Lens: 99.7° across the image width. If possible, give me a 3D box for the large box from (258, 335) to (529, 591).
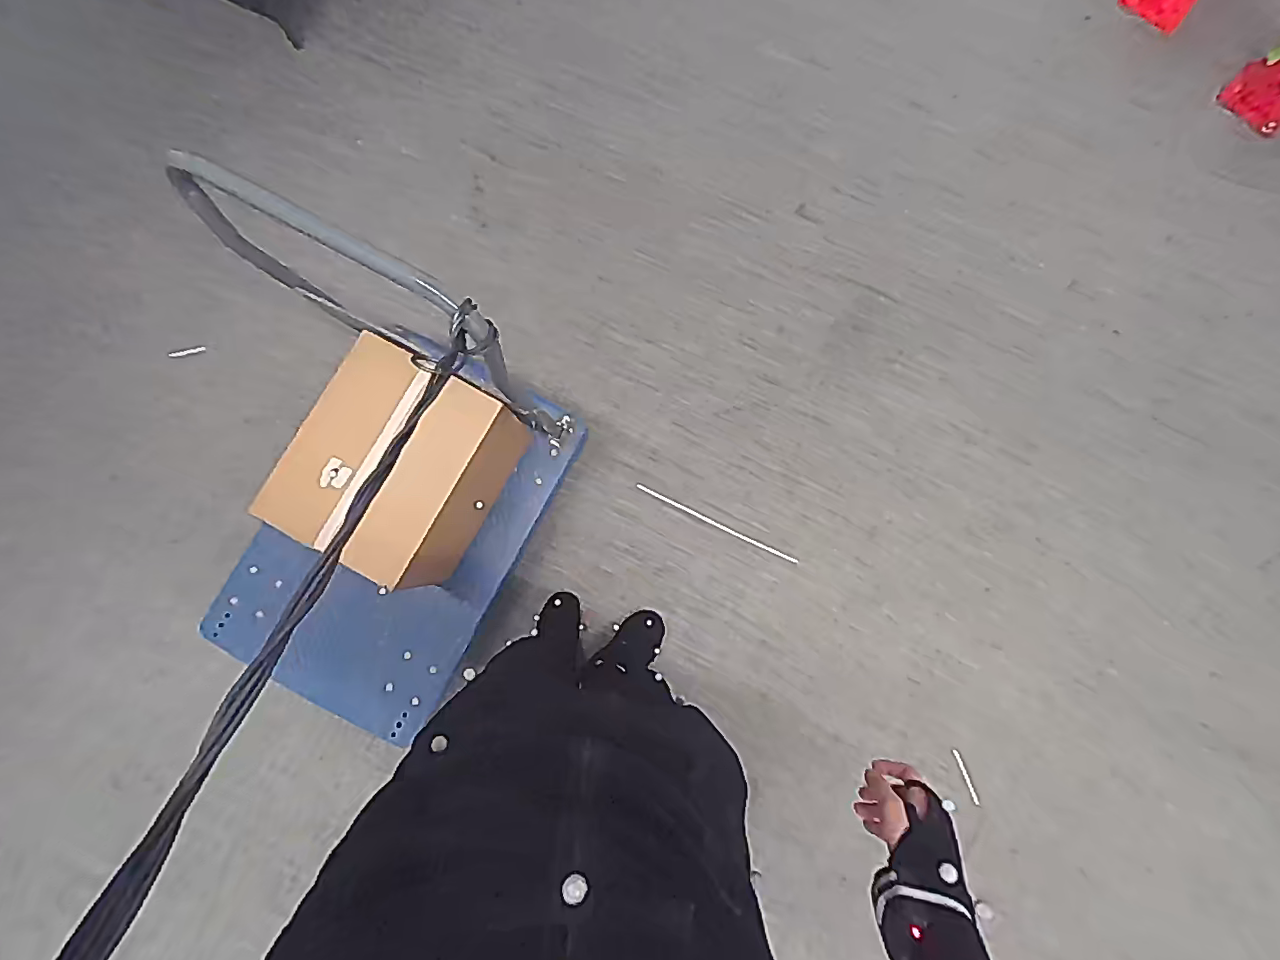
[{"bbox_3d":[-0.487,-0.024,1.162,0.320,0.320,0.408,29,84,3],"label":"large box"}]
